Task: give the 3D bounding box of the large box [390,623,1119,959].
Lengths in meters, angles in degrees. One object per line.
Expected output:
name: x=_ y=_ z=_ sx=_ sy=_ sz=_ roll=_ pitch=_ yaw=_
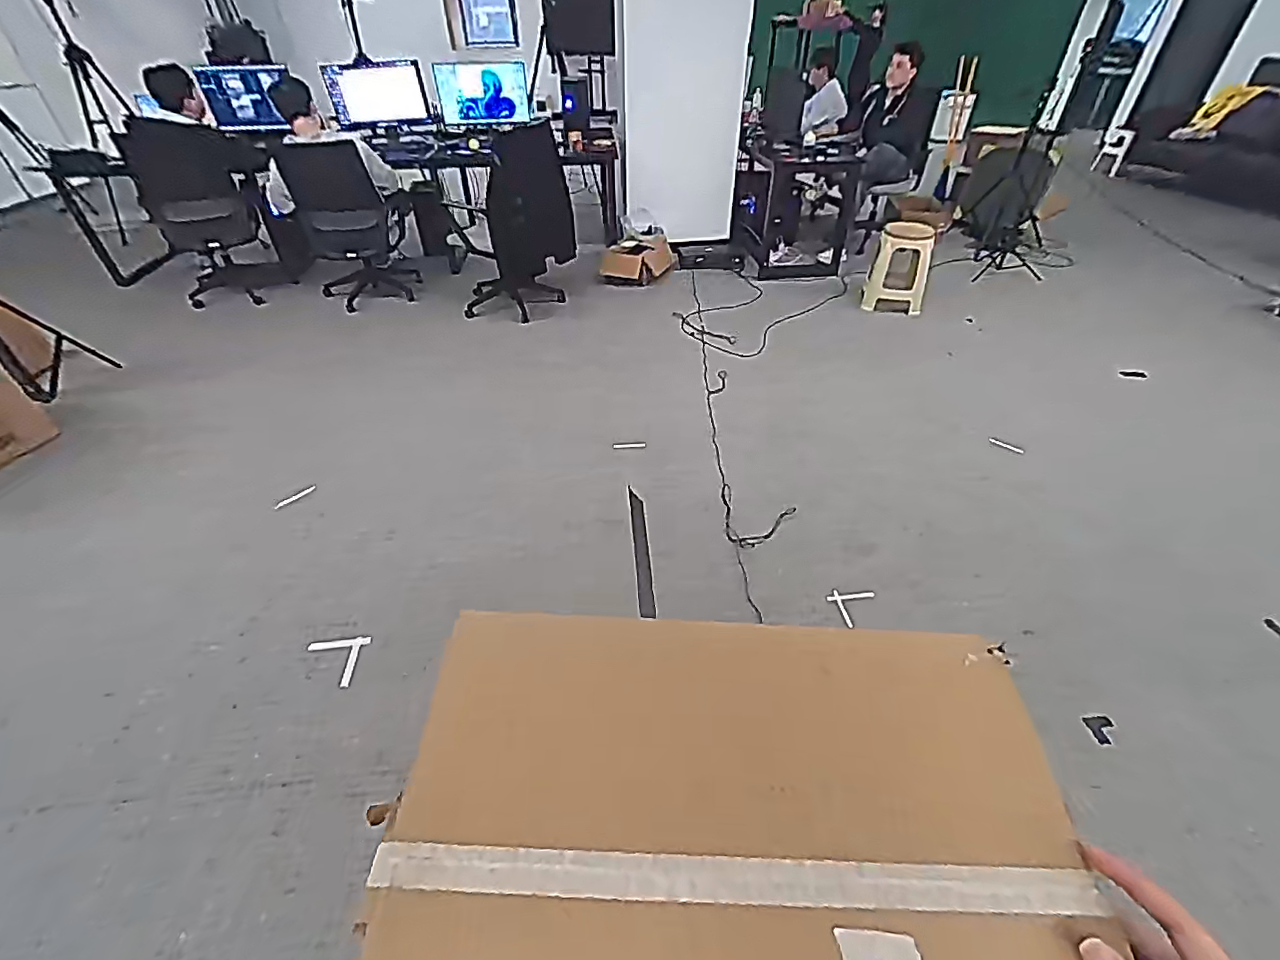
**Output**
large box: x=0.057 y=0.330 z=0.426 sx=0.408 sy=0.320 sz=0.320 roll=3 pitch=50 yaw=-1
